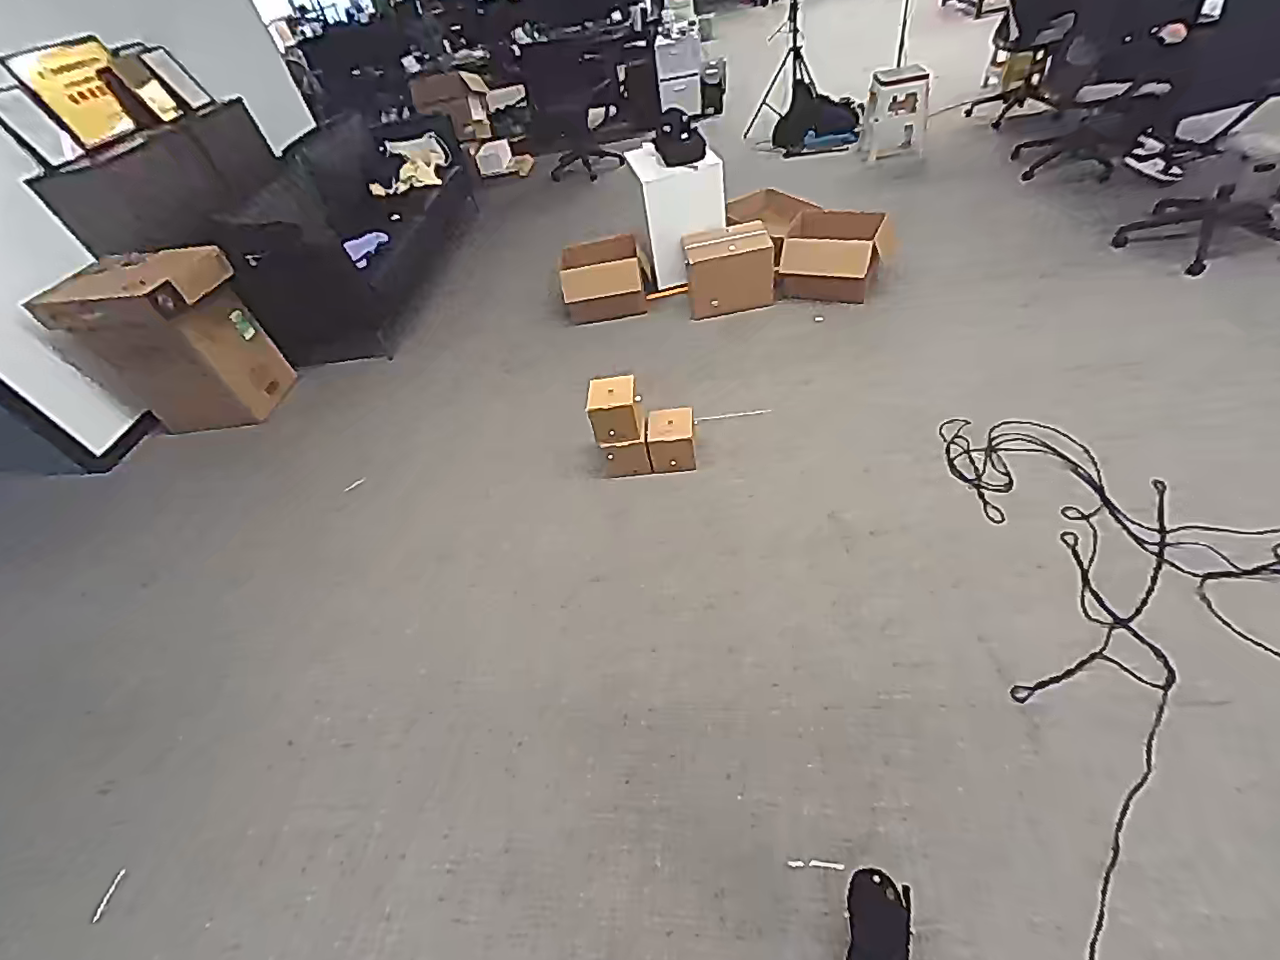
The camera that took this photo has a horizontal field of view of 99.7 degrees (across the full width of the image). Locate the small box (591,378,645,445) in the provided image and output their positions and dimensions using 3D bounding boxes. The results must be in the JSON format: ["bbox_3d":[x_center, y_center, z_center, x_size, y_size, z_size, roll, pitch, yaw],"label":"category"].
[{"bbox_3d":[-0.078,-0.251,1.986,0.168,0.176,0.179,-6,46,8],"label":"small box"}]
